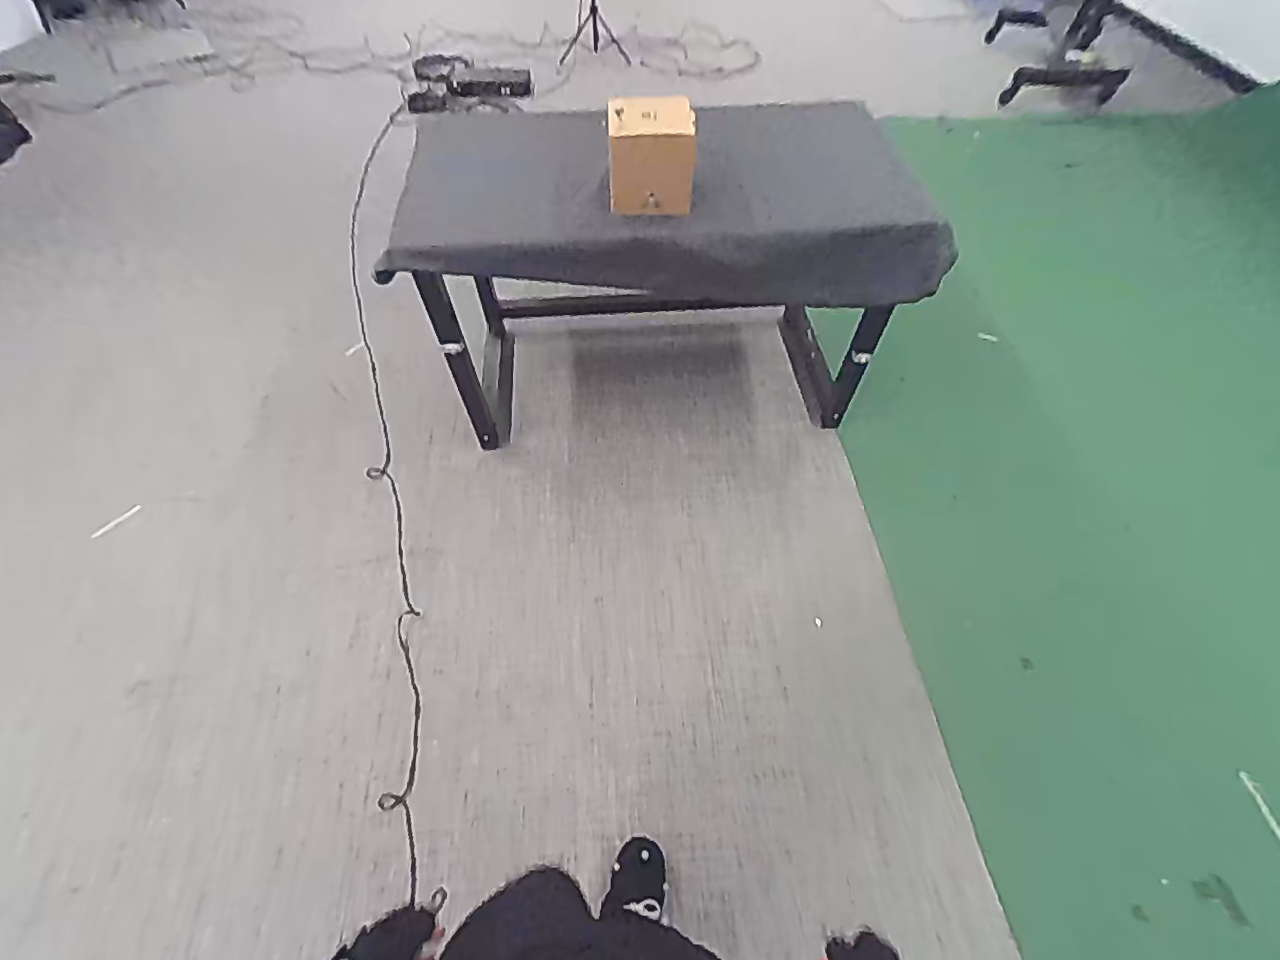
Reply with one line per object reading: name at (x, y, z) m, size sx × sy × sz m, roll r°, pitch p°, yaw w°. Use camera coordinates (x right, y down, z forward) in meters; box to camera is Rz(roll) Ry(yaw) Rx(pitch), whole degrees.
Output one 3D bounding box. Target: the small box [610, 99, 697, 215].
small box at (0.024, -0.701, 1.183) m, size 0.179 × 0.176 × 0.168 m, roll -1°, pitch 56°, yaw -2°
